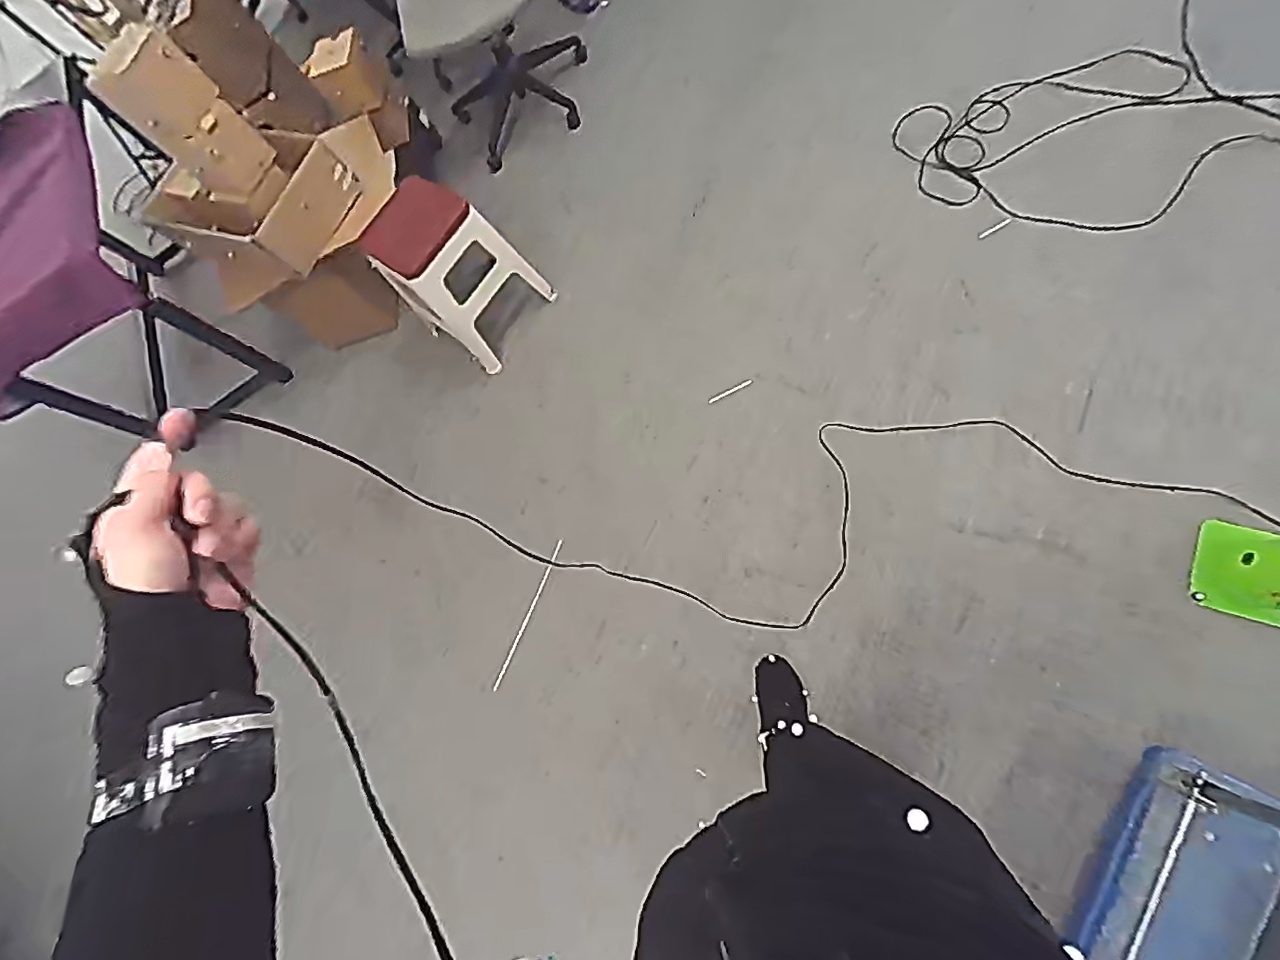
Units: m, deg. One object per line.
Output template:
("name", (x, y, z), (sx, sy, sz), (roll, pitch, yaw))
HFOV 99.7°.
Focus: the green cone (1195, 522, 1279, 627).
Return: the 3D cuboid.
("green cone", (1.275, 0.151, 1.000), (0.200, 0.368, 0.202), (16, 77, 21))
